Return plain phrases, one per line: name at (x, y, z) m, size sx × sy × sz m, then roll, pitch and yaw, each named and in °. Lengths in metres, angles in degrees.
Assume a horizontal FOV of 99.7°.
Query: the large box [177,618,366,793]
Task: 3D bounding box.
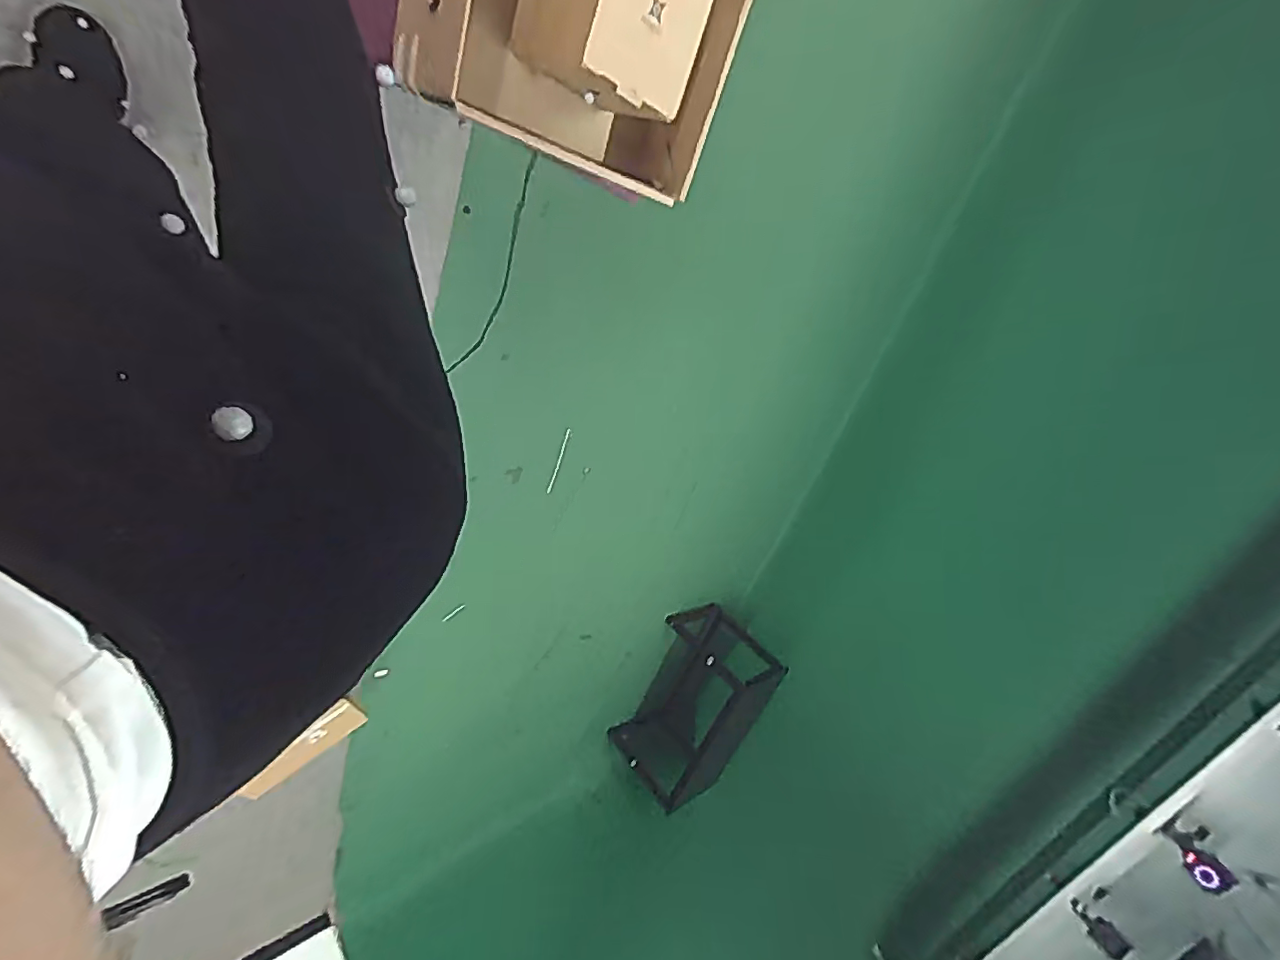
large box at (-1.250, 0.764, 1.855) m, size 0.408 × 0.320 × 0.320 m, roll -35°, pitch 142°, yaw -23°
